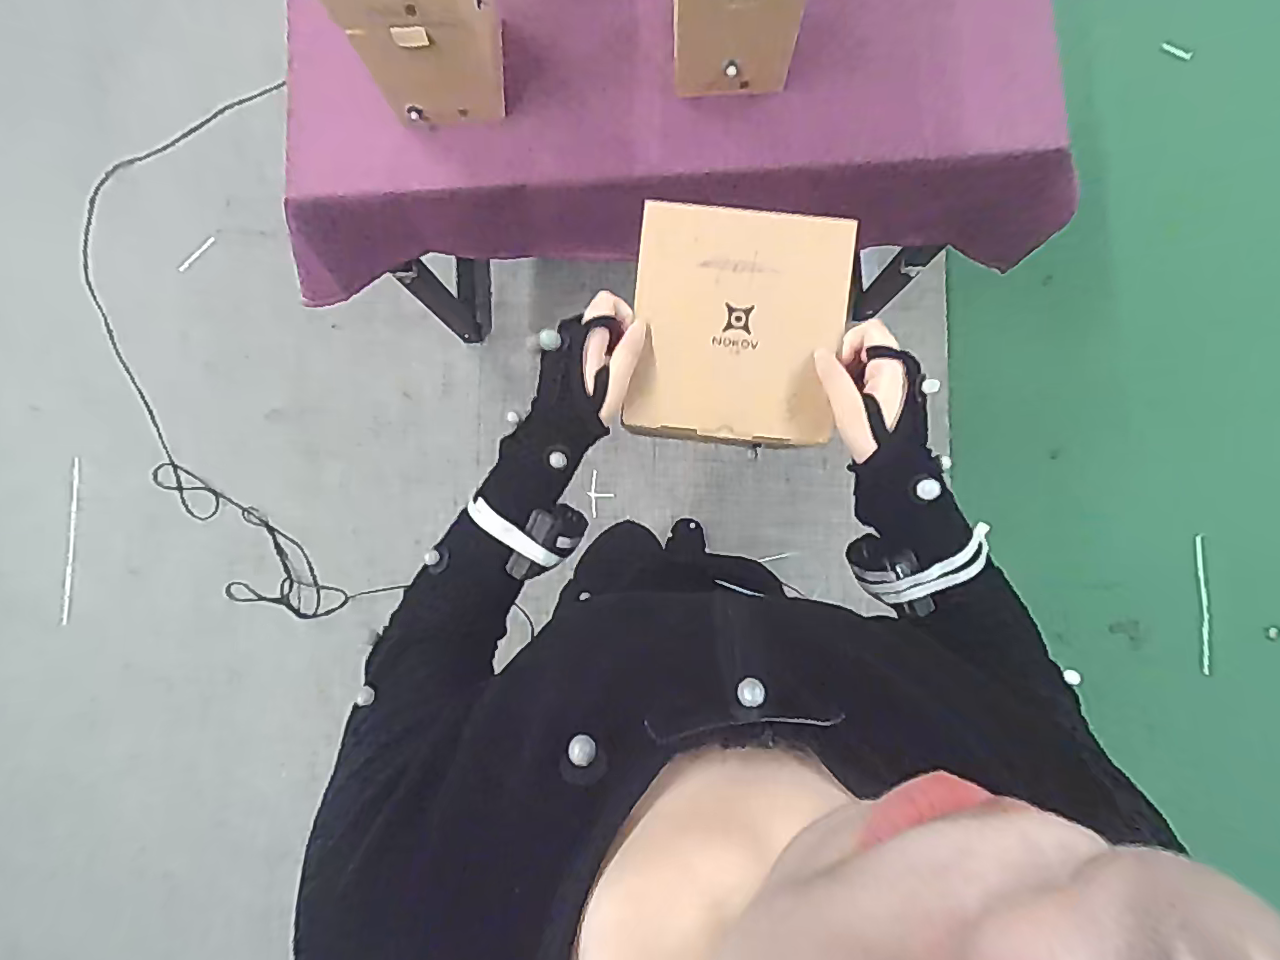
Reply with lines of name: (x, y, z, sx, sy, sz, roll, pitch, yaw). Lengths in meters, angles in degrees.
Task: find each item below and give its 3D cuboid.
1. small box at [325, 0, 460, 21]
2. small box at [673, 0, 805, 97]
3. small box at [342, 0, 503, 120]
small box: (-0.310, -0.667, 0.613, 0.168, 0.176, 0.179, -2, 86, 1)
small box: (0.132, -0.687, 0.762, 0.168, 0.176, 0.179, -1, 85, 3)
small box: (-0.301, -0.652, 0.776, 0.168, 0.176, 0.179, -4, 84, 1)
